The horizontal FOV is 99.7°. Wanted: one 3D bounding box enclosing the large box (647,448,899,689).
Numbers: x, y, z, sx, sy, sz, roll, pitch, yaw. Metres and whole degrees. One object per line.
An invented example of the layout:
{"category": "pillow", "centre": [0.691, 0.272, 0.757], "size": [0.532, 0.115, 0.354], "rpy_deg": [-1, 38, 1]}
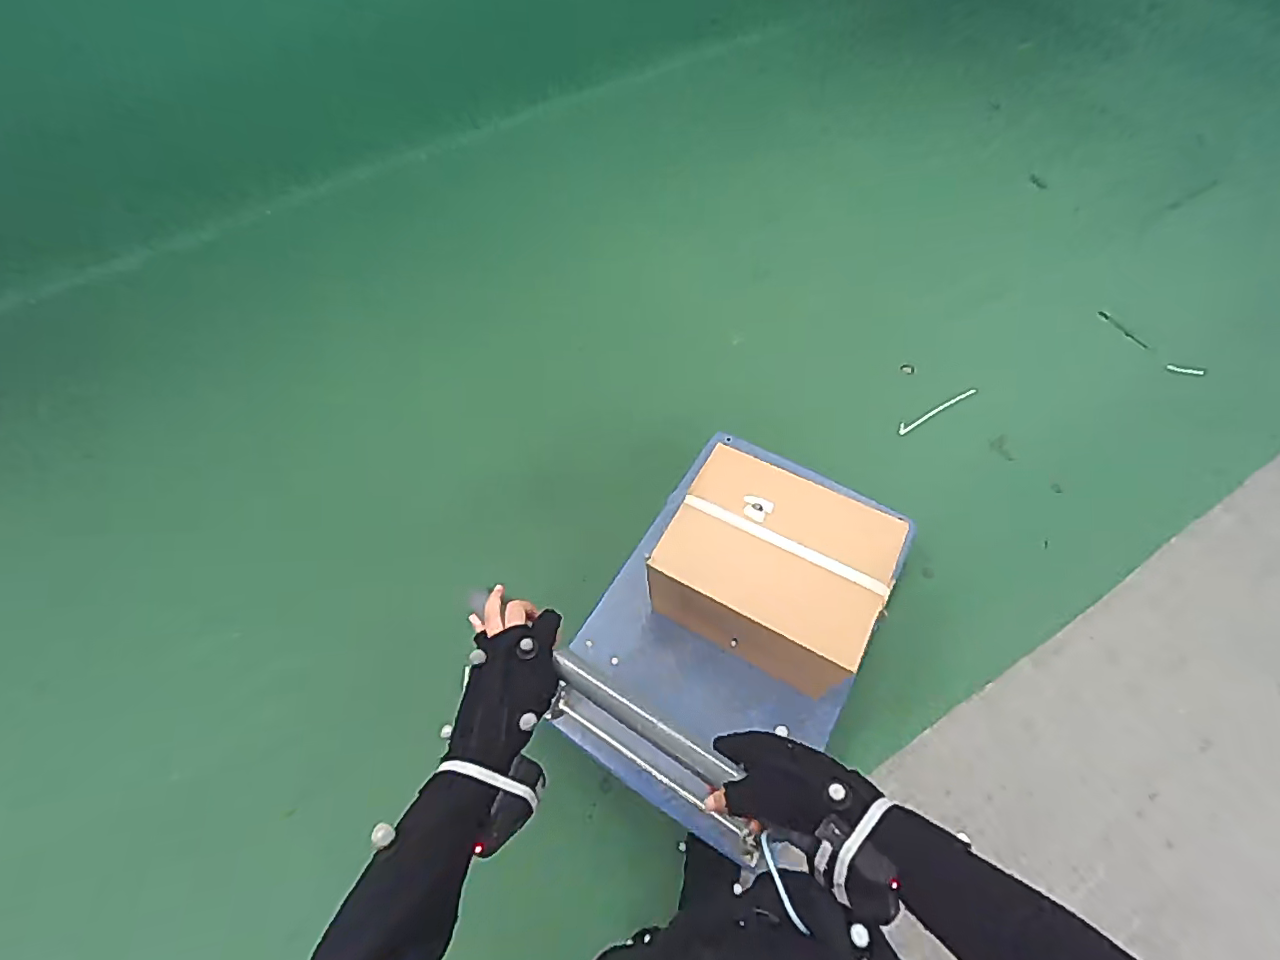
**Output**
{"category": "large box", "centre": [0.271, 0.195, 1.165], "size": [0.408, 0.320, 0.320], "rpy_deg": [24, 64, 18]}
